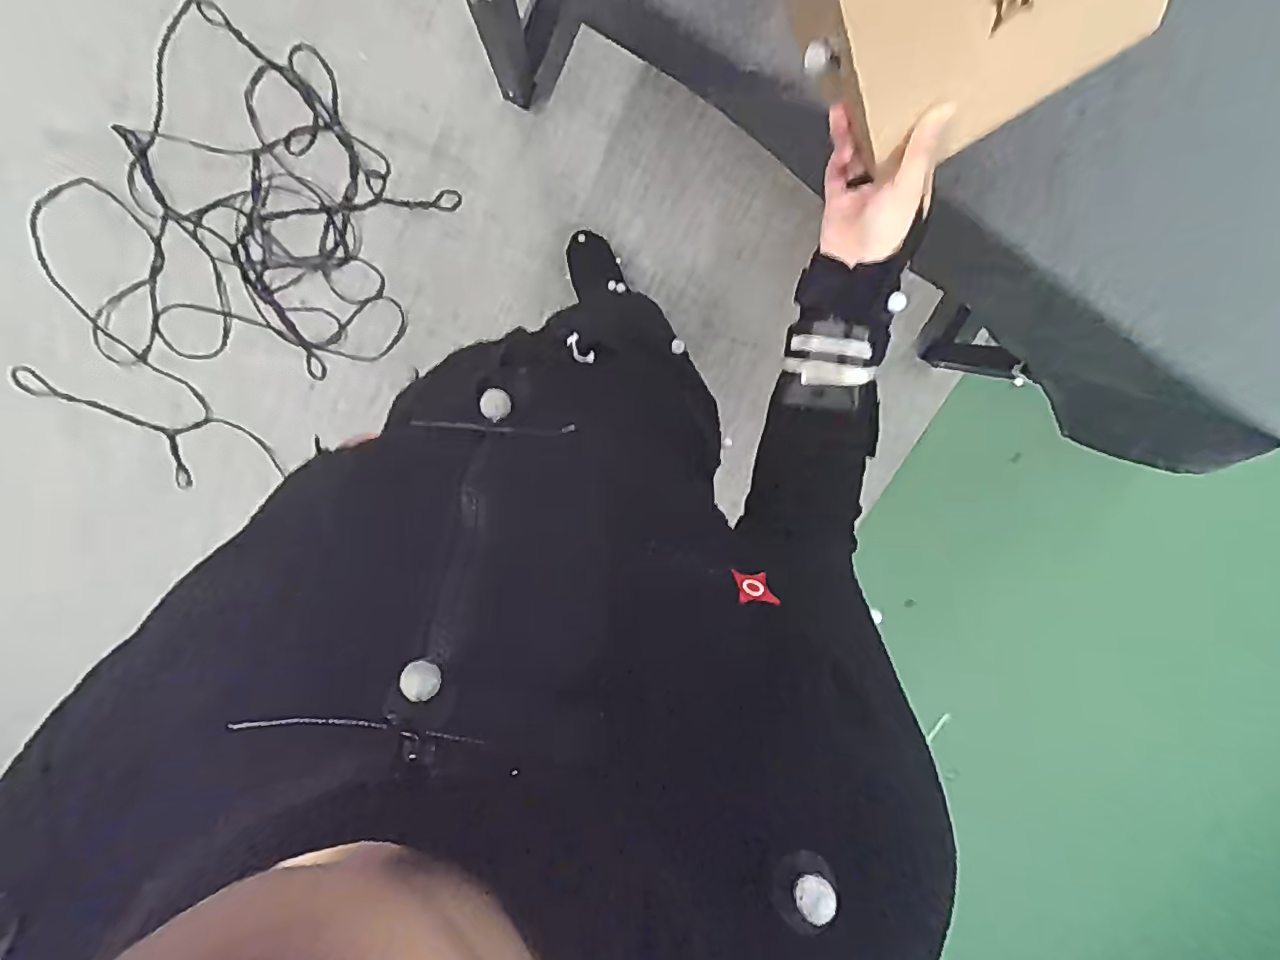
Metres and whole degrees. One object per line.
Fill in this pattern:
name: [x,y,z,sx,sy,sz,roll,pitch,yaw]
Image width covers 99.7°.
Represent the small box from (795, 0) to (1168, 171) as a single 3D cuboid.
small box: [0.182,-0.340,0.312,0.168,0.176,0.179,-27,155,24]
